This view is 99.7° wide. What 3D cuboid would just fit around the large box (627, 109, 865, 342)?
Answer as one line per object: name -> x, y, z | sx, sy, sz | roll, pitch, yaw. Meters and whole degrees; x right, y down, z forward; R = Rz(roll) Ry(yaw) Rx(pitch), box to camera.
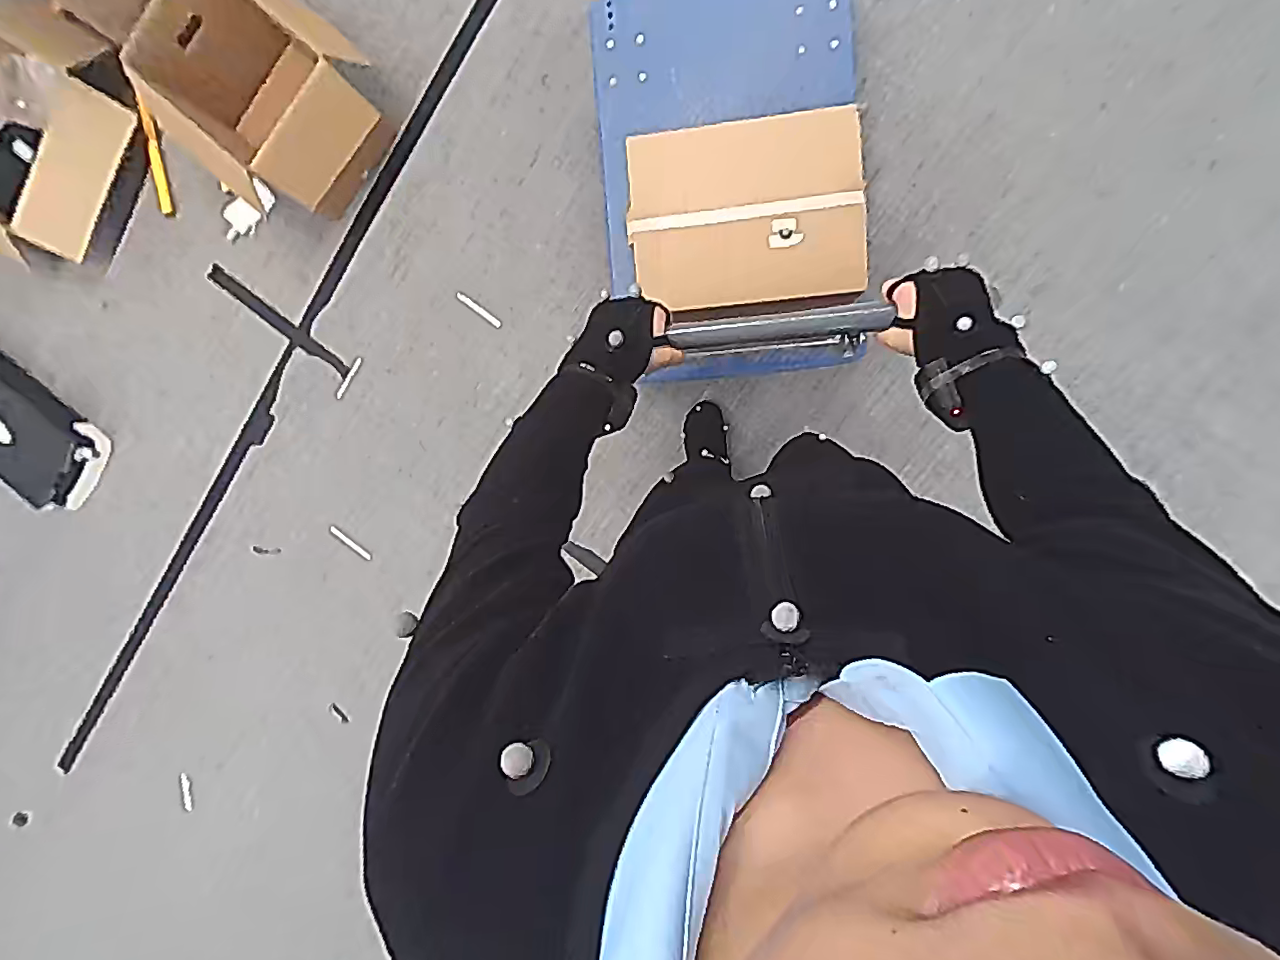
large box -> 0.199, -0.481, 1.107 | 0.408, 0.320, 0.320 | -4, 96, 6
